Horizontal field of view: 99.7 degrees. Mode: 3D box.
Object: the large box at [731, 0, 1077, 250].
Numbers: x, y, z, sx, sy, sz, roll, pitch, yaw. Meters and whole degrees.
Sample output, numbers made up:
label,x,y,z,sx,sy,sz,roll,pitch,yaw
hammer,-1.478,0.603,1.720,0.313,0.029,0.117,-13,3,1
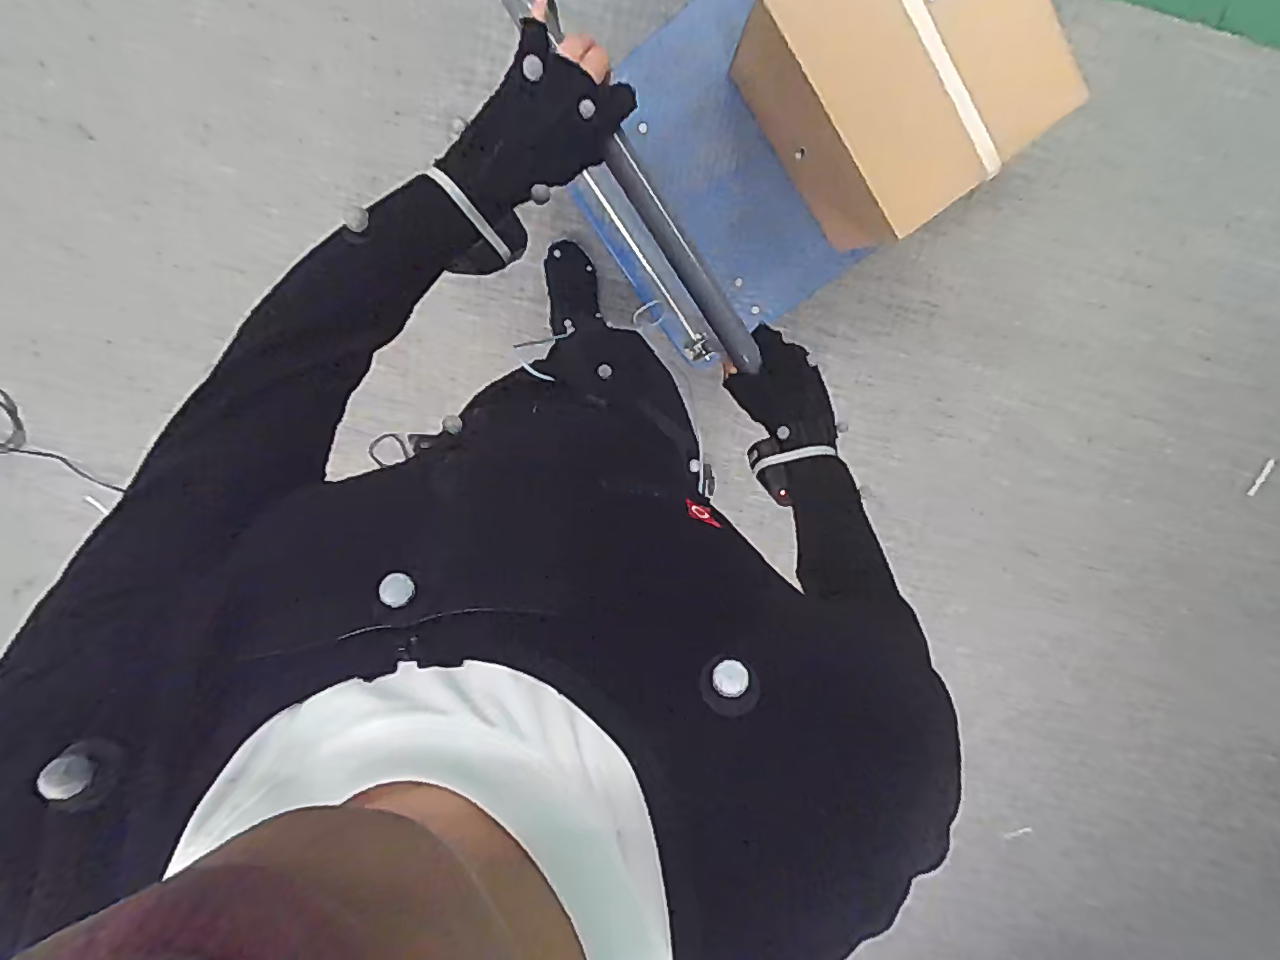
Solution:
label,x,y,z,sx,sy,sz,roll,pitch,yaw
large box,0.407,-0.664,0.918,0.320,0.320,0.408,-36,105,11
